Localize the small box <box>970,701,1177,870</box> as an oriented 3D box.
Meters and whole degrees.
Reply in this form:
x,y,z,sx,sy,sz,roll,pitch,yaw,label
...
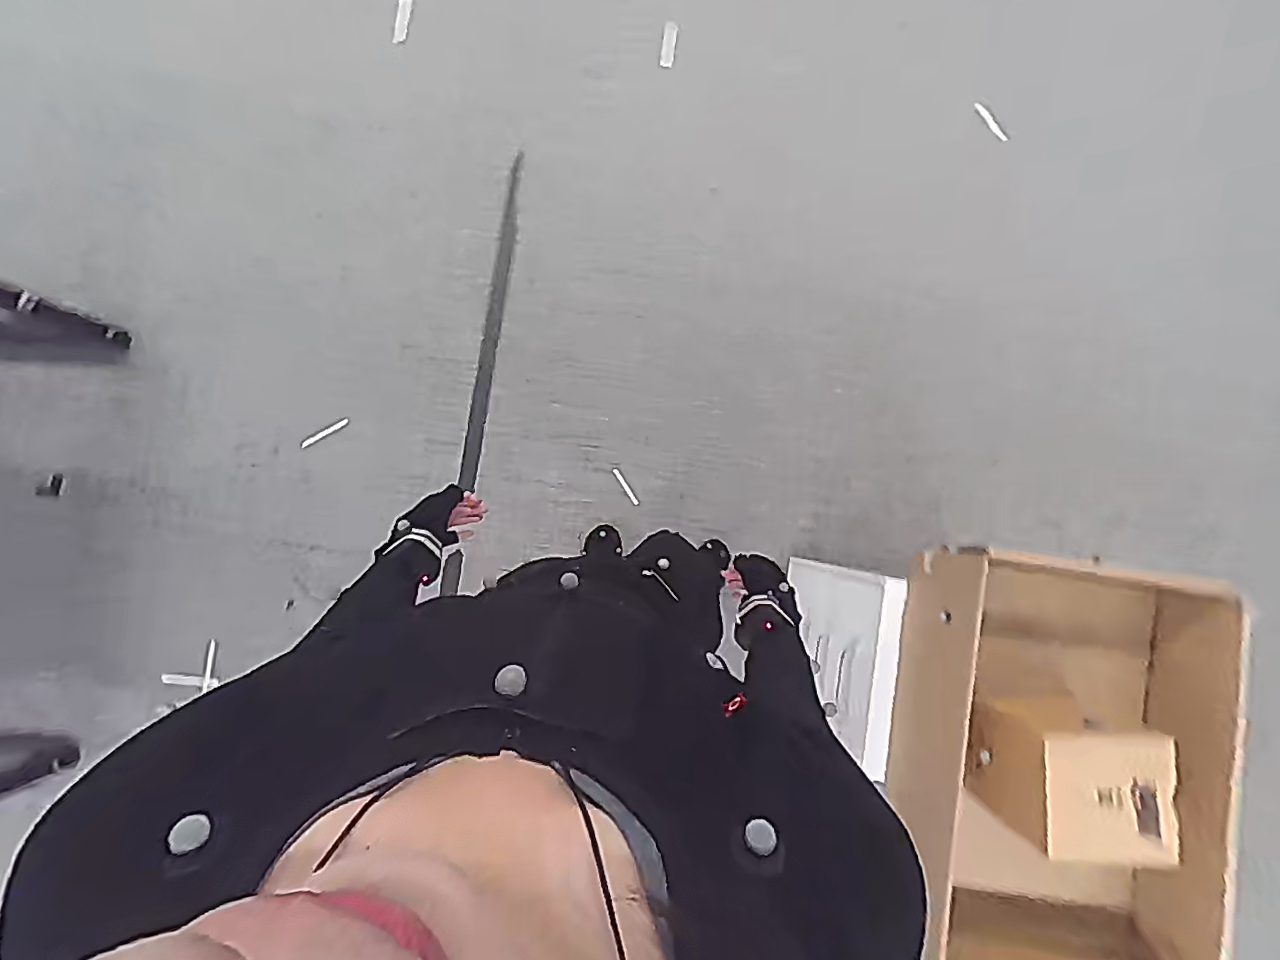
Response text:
x,y,z,sx,sy,sz,roll,pitch,yaw,label
0.626,0.437,0.800,0.179,0.176,0.168,2,85,0,small box
